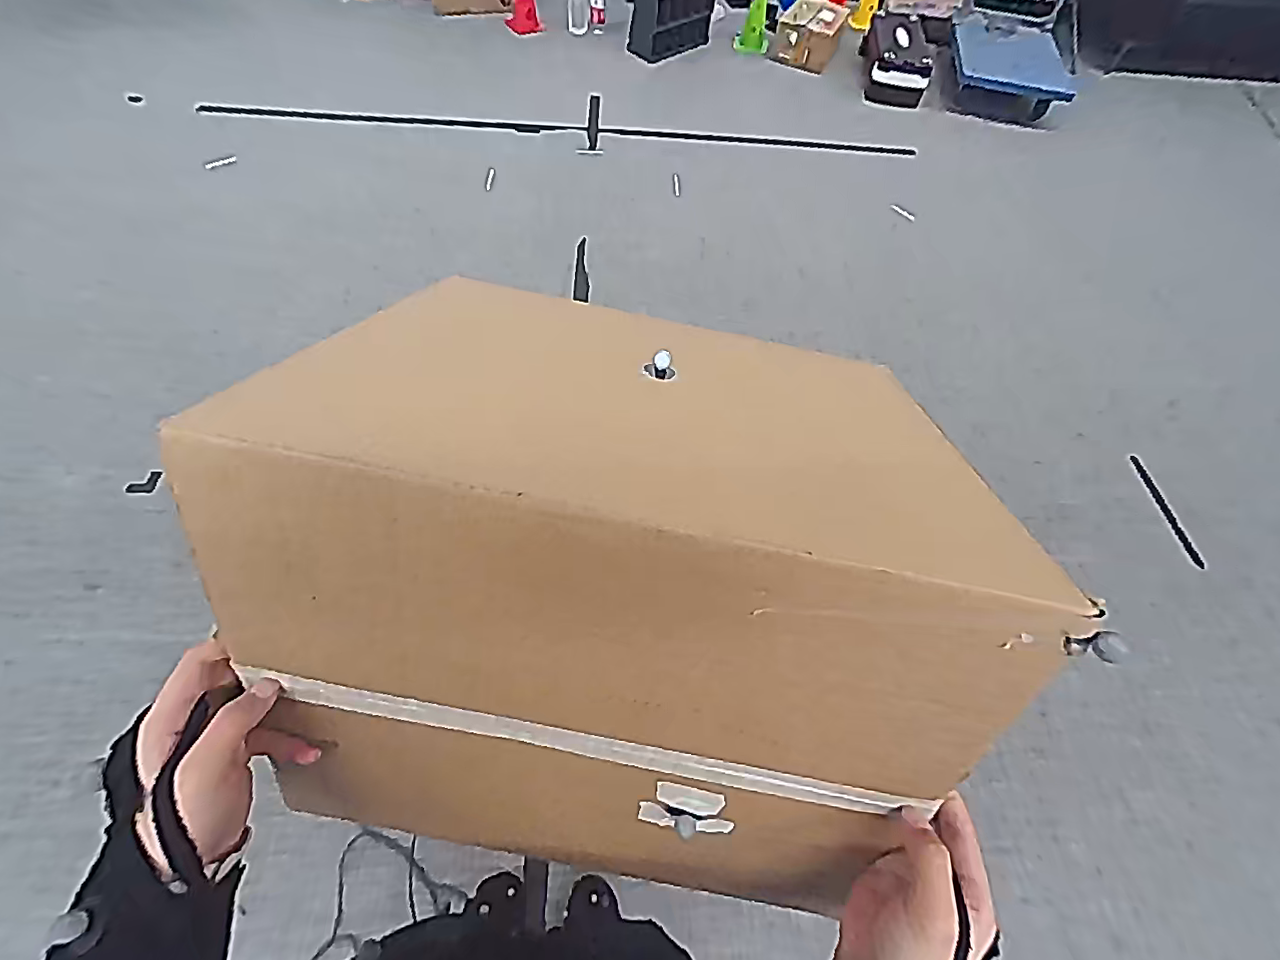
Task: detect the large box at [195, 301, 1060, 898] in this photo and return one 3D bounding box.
[{"bbox_3d":[-0.017,0.069,0.445,0.408,0.320,0.320,11,33,-1],"label":"large box"}]
